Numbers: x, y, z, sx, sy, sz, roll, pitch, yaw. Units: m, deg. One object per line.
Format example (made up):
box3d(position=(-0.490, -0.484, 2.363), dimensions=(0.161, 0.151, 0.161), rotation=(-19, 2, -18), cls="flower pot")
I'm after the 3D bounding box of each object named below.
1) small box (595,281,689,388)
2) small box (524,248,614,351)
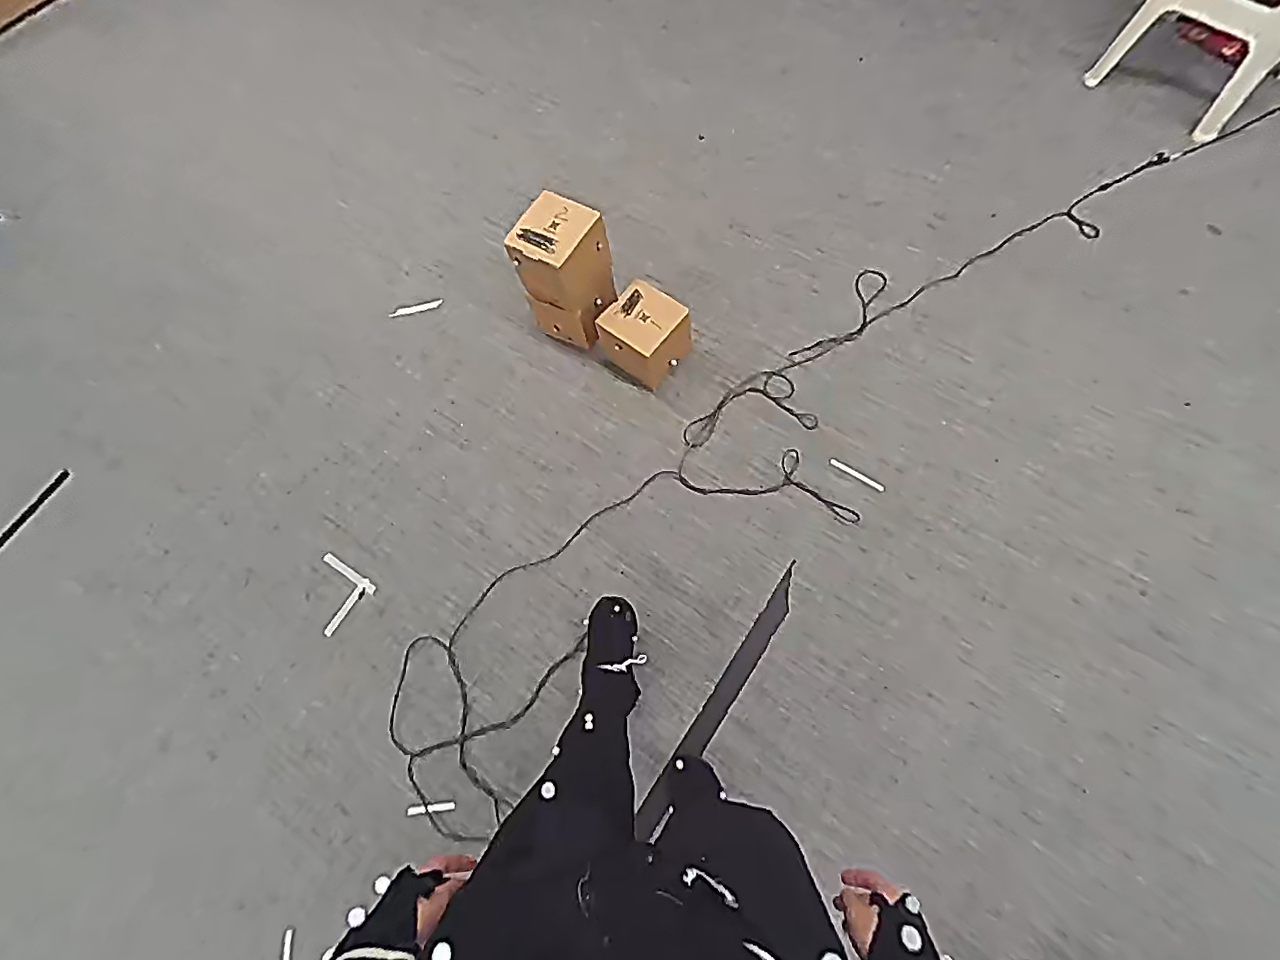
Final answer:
box3d(position=(0.011, -0.369, 1.398), dimensions=(0.179, 0.176, 0.168), rotation=(37, 79, 17), cls="small box")
box3d(position=(-0.182, -0.484, 1.464), dimensions=(0.168, 0.176, 0.179), rotation=(24, 75, 14), cls="small box")
